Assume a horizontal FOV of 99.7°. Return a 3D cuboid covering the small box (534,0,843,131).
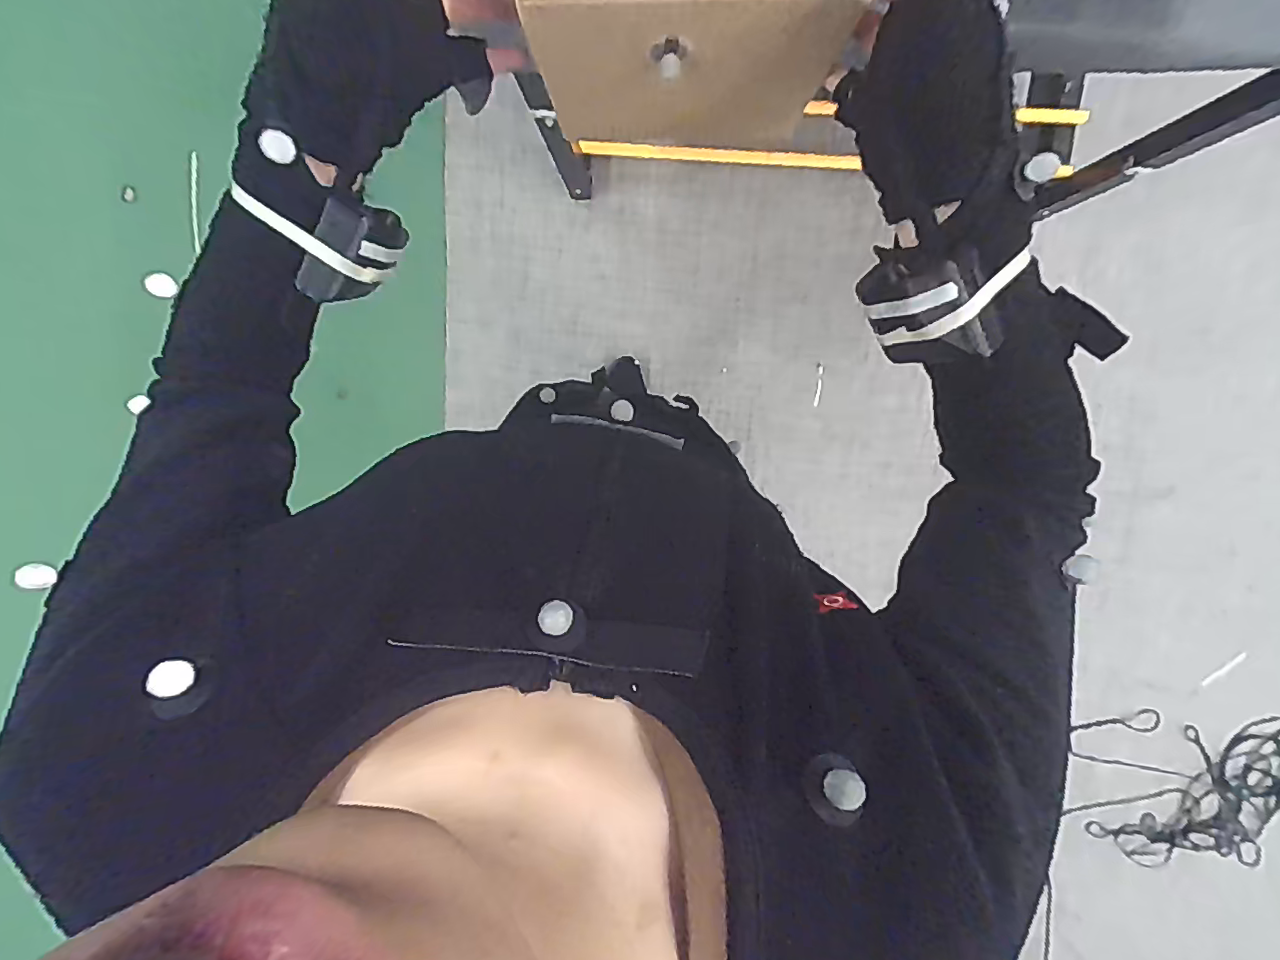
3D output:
[{"bbox_3d":[0.028,-0.336,0.328,0.179,0.176,0.168,0,102,1],"label":"small box"}]
